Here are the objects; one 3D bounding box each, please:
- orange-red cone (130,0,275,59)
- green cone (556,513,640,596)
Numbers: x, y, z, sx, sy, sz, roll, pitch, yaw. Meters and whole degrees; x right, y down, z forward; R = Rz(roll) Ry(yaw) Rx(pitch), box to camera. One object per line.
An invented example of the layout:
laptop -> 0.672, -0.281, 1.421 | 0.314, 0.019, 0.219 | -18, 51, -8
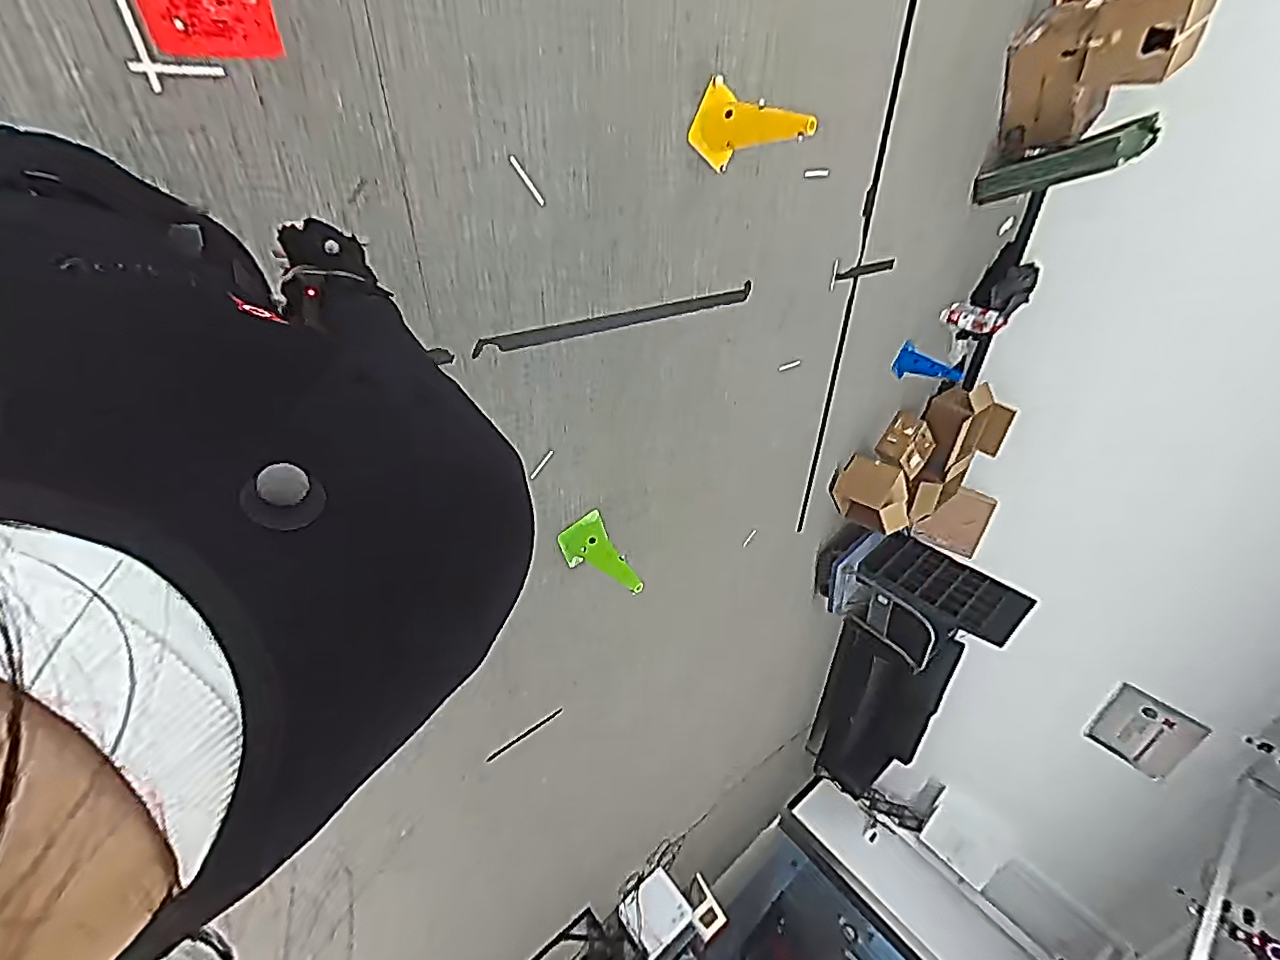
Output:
orange-red cone -> -0.642, -0.765, 0.803 | 0.199, 0.360, 0.198 | -25, 132, -33
green cone -> -0.123, 0.317, 2.039 | 0.202, 0.368, 0.200 | -36, 135, -21
